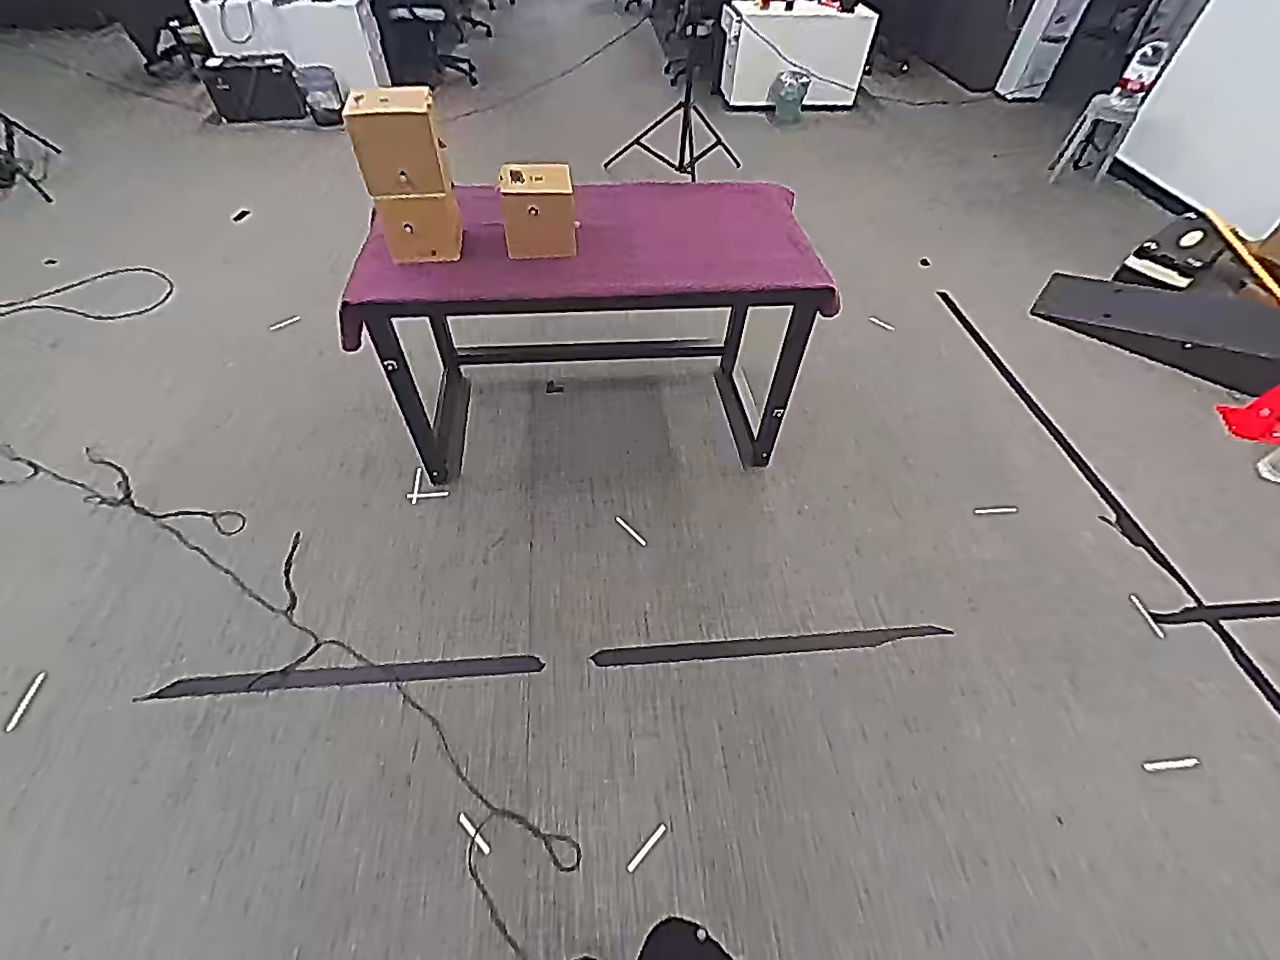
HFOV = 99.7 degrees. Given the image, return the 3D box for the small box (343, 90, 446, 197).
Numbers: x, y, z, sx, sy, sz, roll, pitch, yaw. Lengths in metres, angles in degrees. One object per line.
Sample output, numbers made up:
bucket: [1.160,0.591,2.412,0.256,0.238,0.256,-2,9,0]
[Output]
small box: [-0.558,-0.778,1.255,0.179,0.176,0.168,-7,51,-9]

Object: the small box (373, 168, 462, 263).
small box: [-0.557,-0.670,1.379,0.168,0.176,0.179,-7,51,-8]

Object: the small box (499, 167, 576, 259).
small box: [-0.264,-0.694,1.410,0.179,0.176,0.168,-5,52,-7]
